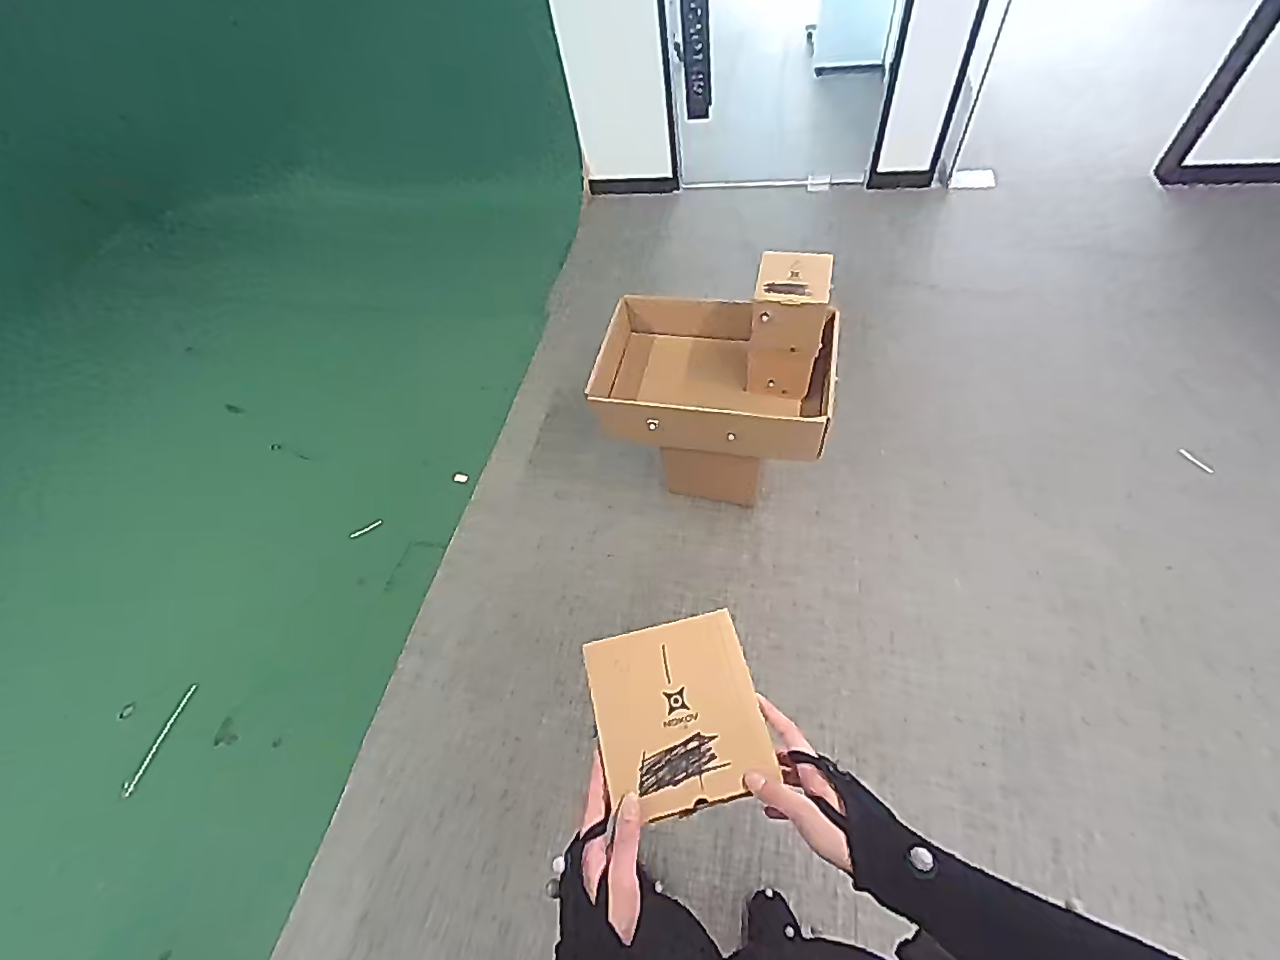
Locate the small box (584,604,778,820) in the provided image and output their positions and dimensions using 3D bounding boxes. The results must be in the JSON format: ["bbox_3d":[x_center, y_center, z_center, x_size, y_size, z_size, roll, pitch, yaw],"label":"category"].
[{"bbox_3d":[0.039,0.263,0.613,0.168,0.176,0.179,-11,60,-5],"label":"small box"}]

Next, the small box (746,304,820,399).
[{"bbox_3d":[0.380,-0.346,1.459,0.168,0.176,0.179,9,60,13],"label":"small box"}]
